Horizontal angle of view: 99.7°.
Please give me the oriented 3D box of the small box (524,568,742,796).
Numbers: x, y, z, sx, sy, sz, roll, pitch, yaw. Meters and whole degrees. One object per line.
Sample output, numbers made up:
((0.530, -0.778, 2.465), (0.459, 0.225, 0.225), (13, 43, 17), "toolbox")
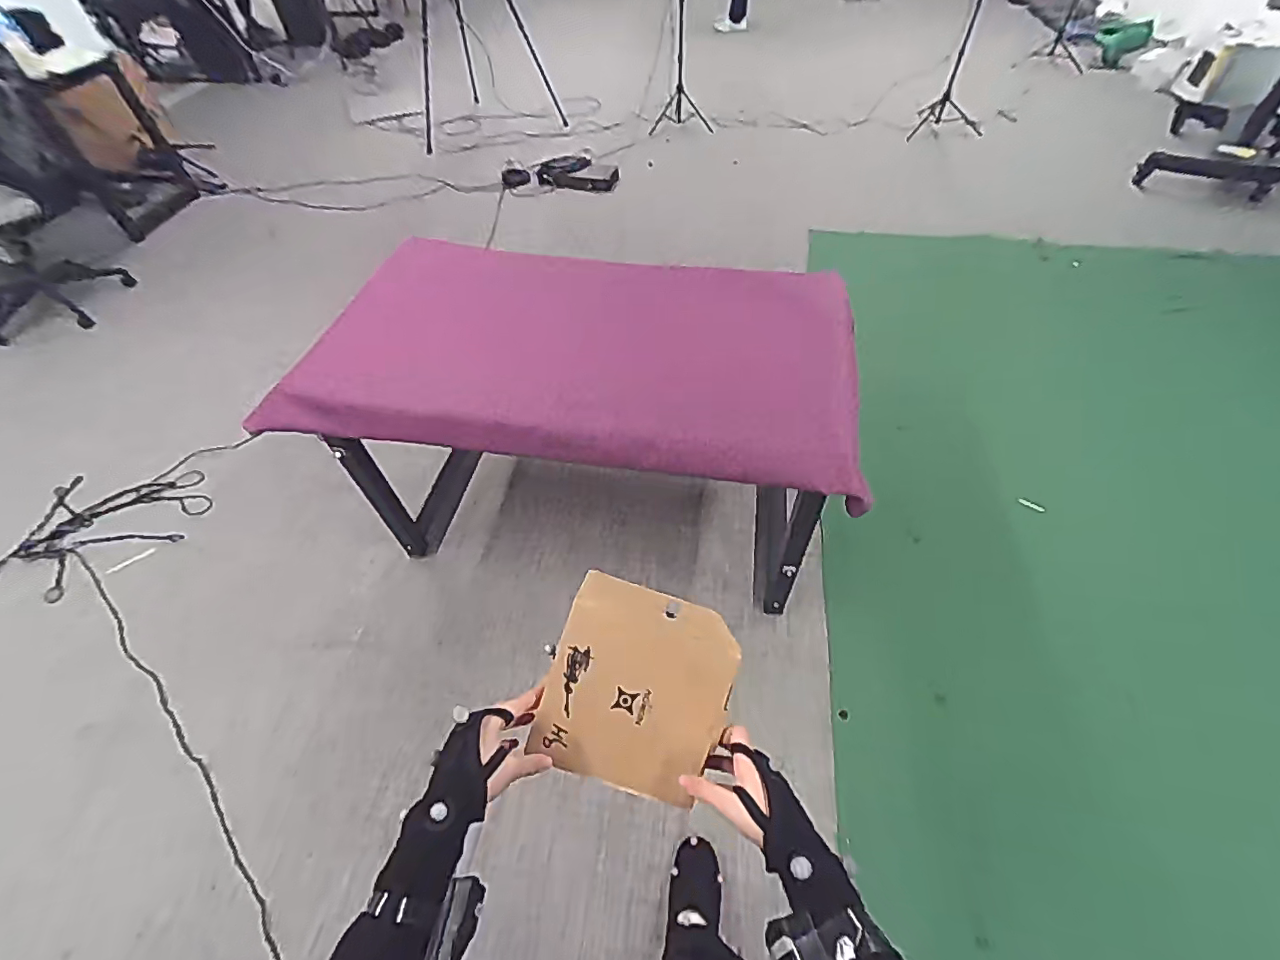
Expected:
((-0.007, 0.206, 0.604), (0.179, 0.176, 0.168), (18, 89, 0), "small box")
